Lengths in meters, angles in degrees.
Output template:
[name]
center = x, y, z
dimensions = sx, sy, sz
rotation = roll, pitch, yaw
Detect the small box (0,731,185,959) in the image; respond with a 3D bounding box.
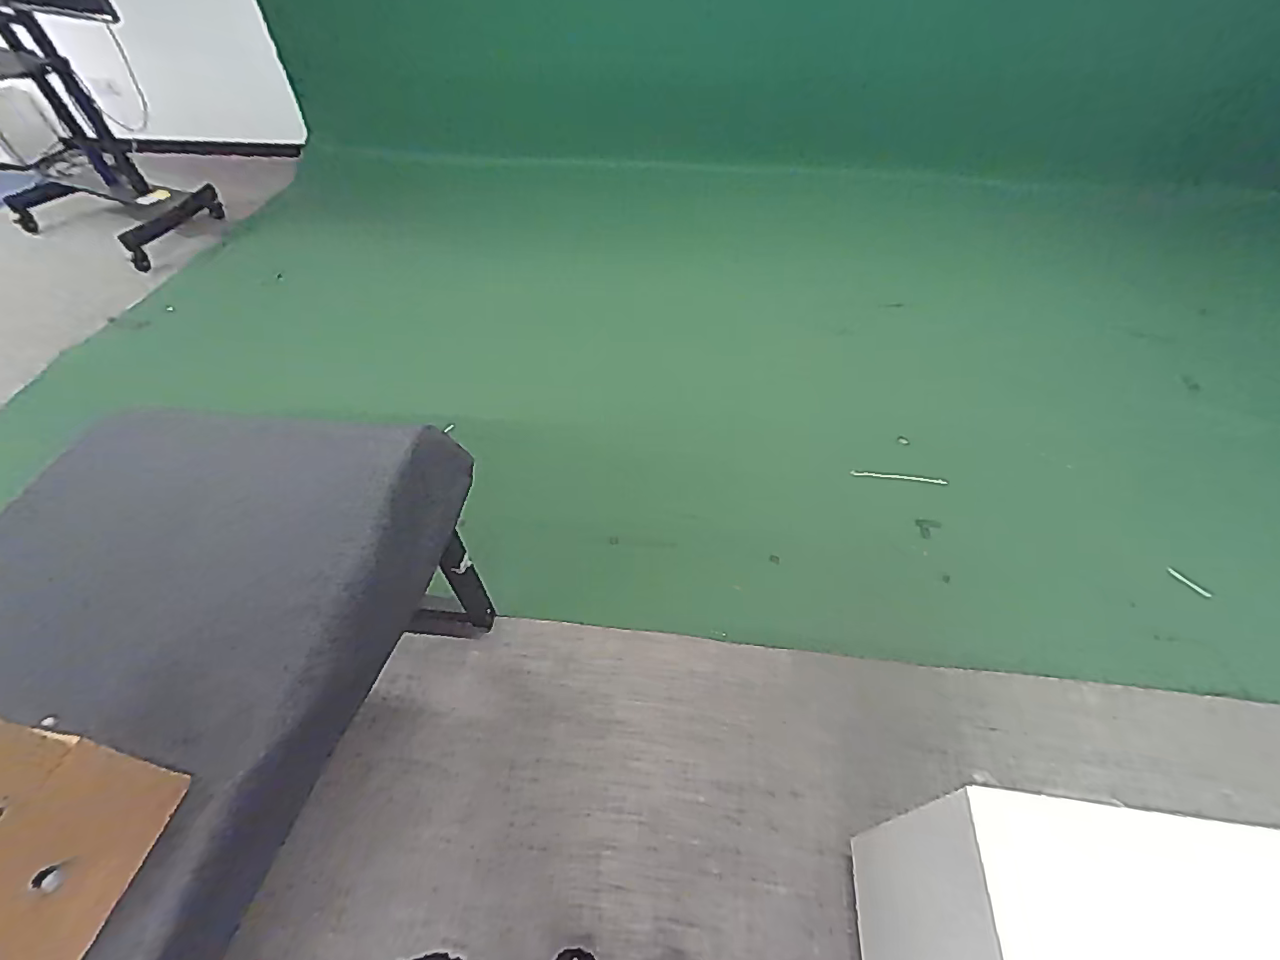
[small box]
center = -0.609, 0.343, 0.522
dimensions = 0.168, 0.176, 0.179
rotation = 7, 51, 7
